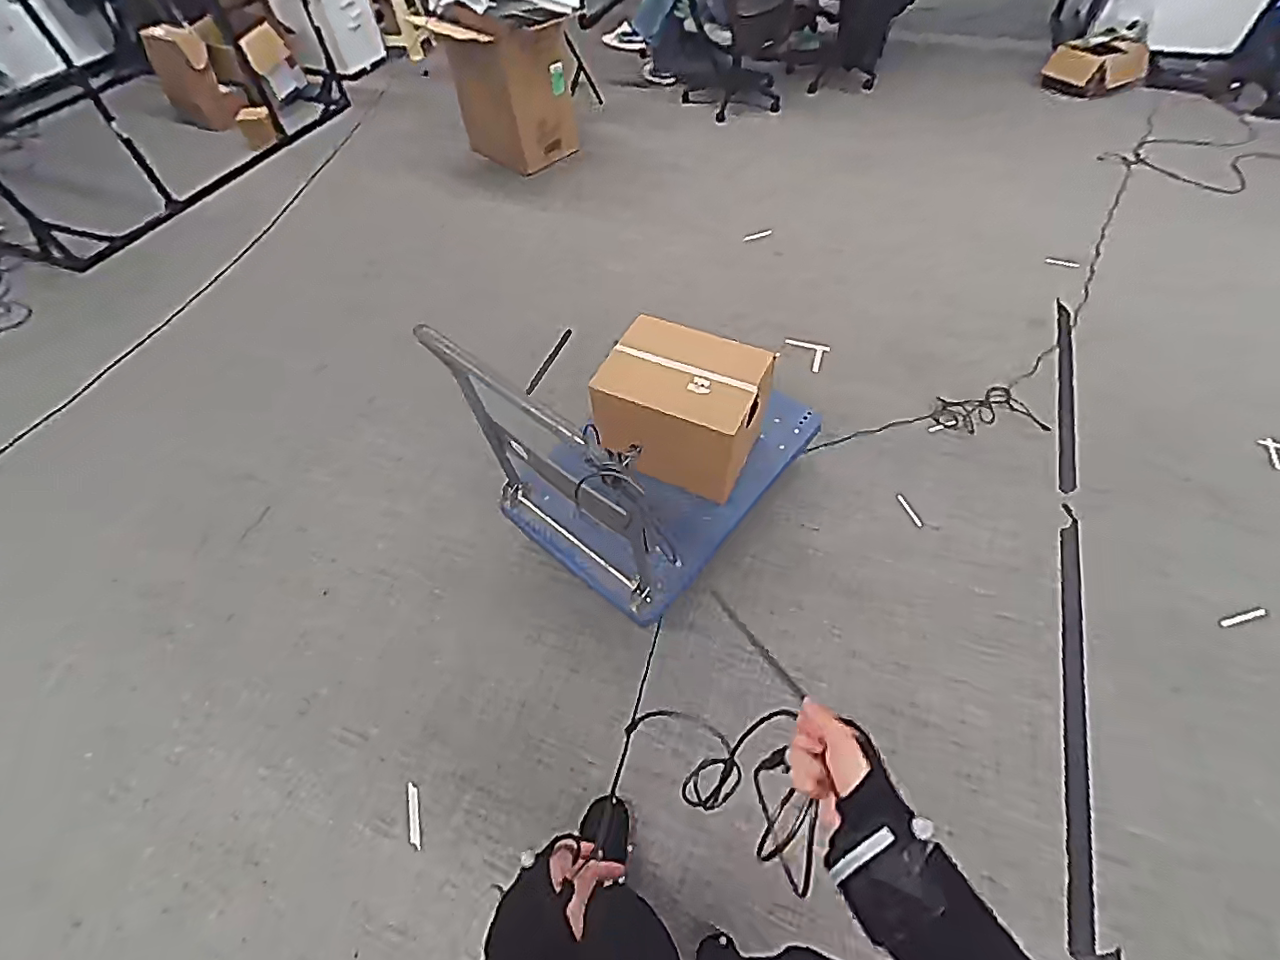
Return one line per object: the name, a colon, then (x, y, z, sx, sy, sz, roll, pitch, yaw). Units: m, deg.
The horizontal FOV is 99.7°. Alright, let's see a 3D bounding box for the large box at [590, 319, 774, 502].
large box: (0.114, -0.194, 1.526, 0.408, 0.320, 0.320, 21, 59, 16)
